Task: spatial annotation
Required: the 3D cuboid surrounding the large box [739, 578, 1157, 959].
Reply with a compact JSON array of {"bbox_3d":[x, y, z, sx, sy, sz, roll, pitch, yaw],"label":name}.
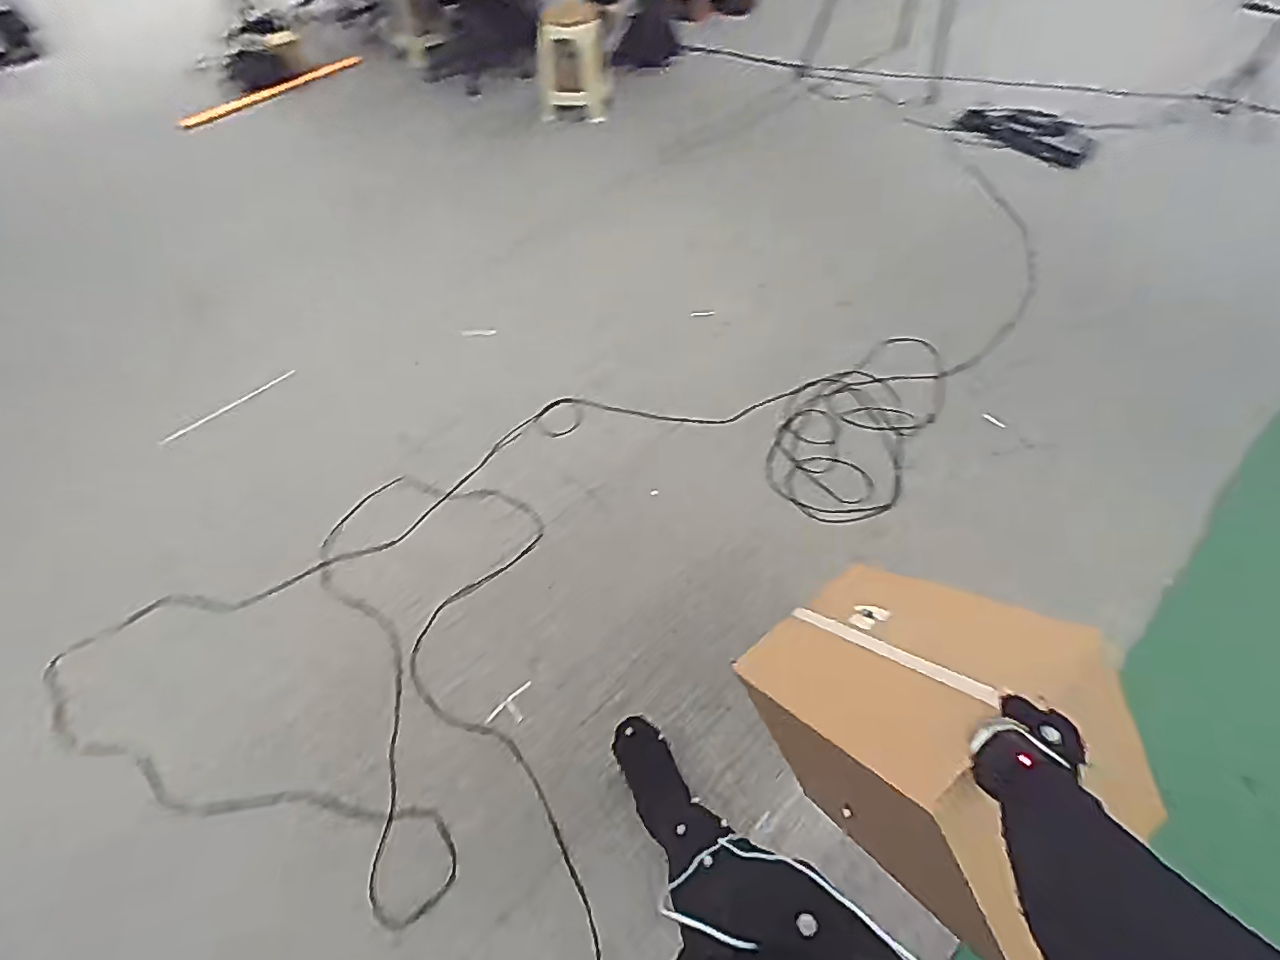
[{"bbox_3d":[0.436,0.396,0.831,0.320,0.408,0.320,-33,102,-17],"label":"large box"}]
